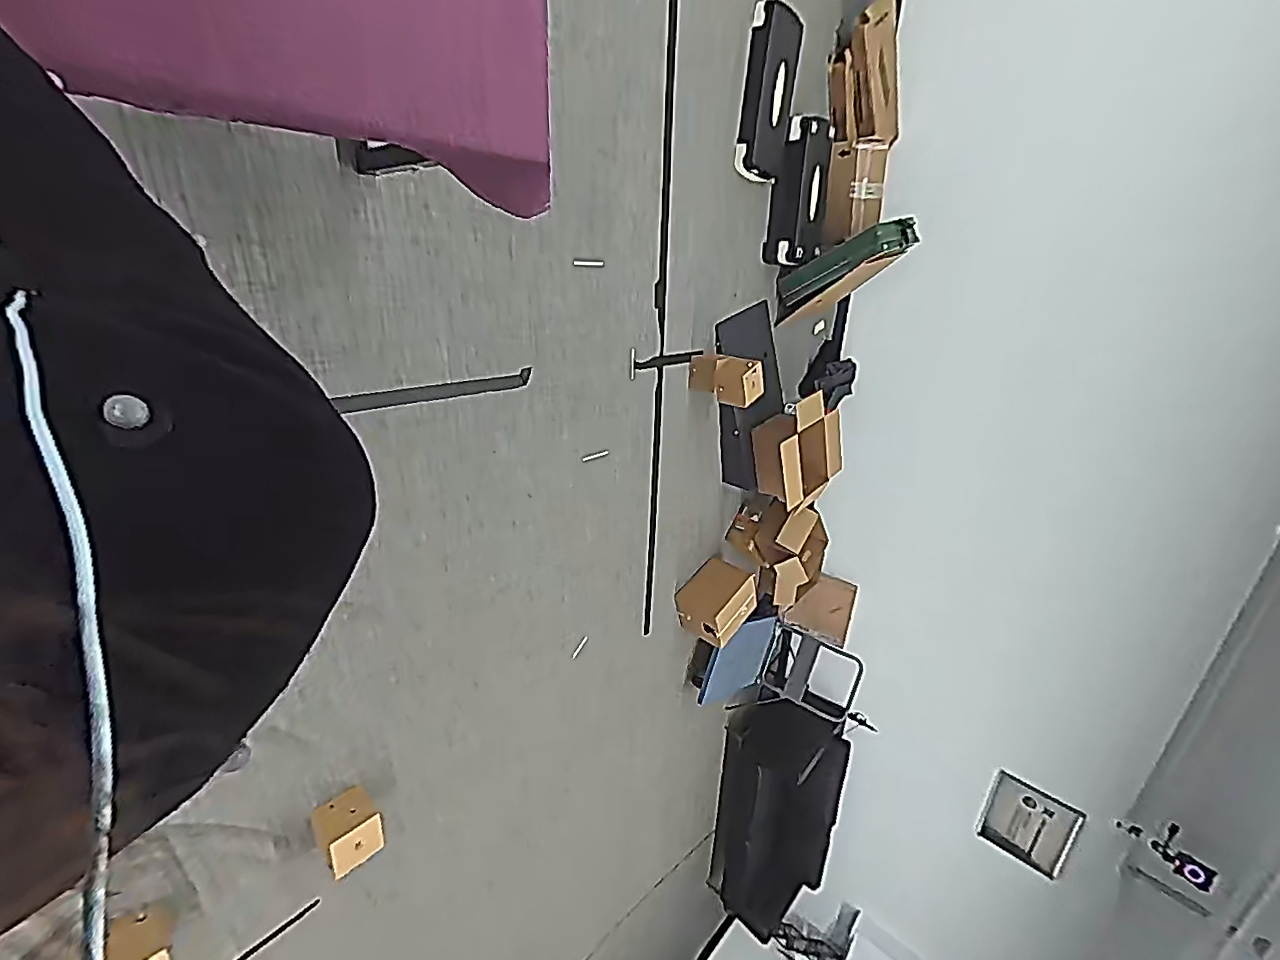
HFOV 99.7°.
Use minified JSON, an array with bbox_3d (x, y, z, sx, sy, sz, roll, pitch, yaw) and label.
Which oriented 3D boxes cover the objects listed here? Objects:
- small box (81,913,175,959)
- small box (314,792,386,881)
[{"bbox_3d":[-1.405,1.360,1.495,0.168,0.176,0.179,-17,120,-45],"label":"small box"},{"bbox_3d":[-1.024,1.243,1.907,0.168,0.176,0.179,-20,122,-45],"label":"small box"}]
